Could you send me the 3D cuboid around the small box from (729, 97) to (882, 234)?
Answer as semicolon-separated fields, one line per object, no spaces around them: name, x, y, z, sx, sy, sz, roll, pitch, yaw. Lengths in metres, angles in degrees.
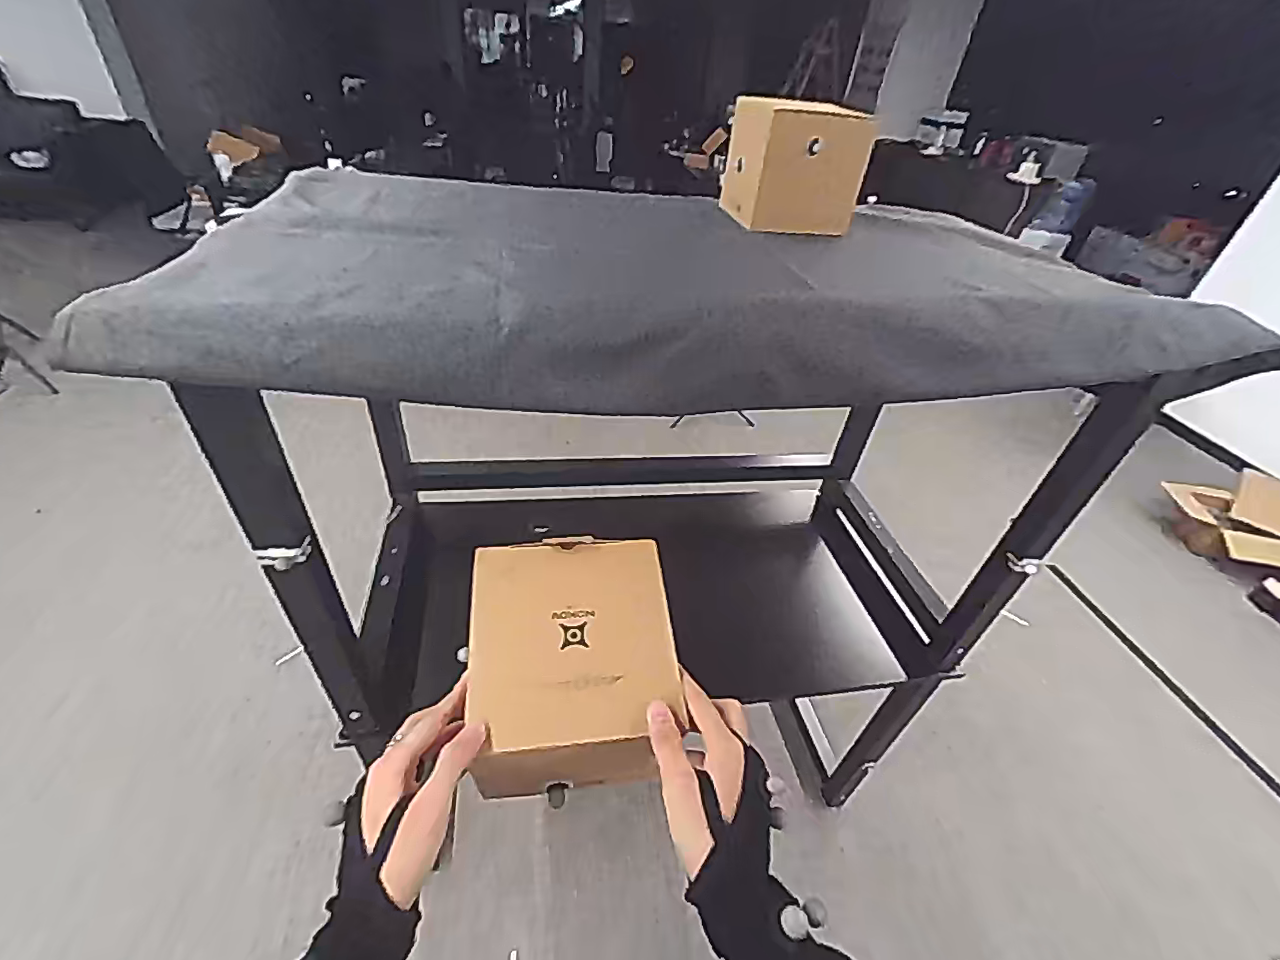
small box;0.255;-0.516;0.890;0.179;0.176;0.168;-2;40;-11
